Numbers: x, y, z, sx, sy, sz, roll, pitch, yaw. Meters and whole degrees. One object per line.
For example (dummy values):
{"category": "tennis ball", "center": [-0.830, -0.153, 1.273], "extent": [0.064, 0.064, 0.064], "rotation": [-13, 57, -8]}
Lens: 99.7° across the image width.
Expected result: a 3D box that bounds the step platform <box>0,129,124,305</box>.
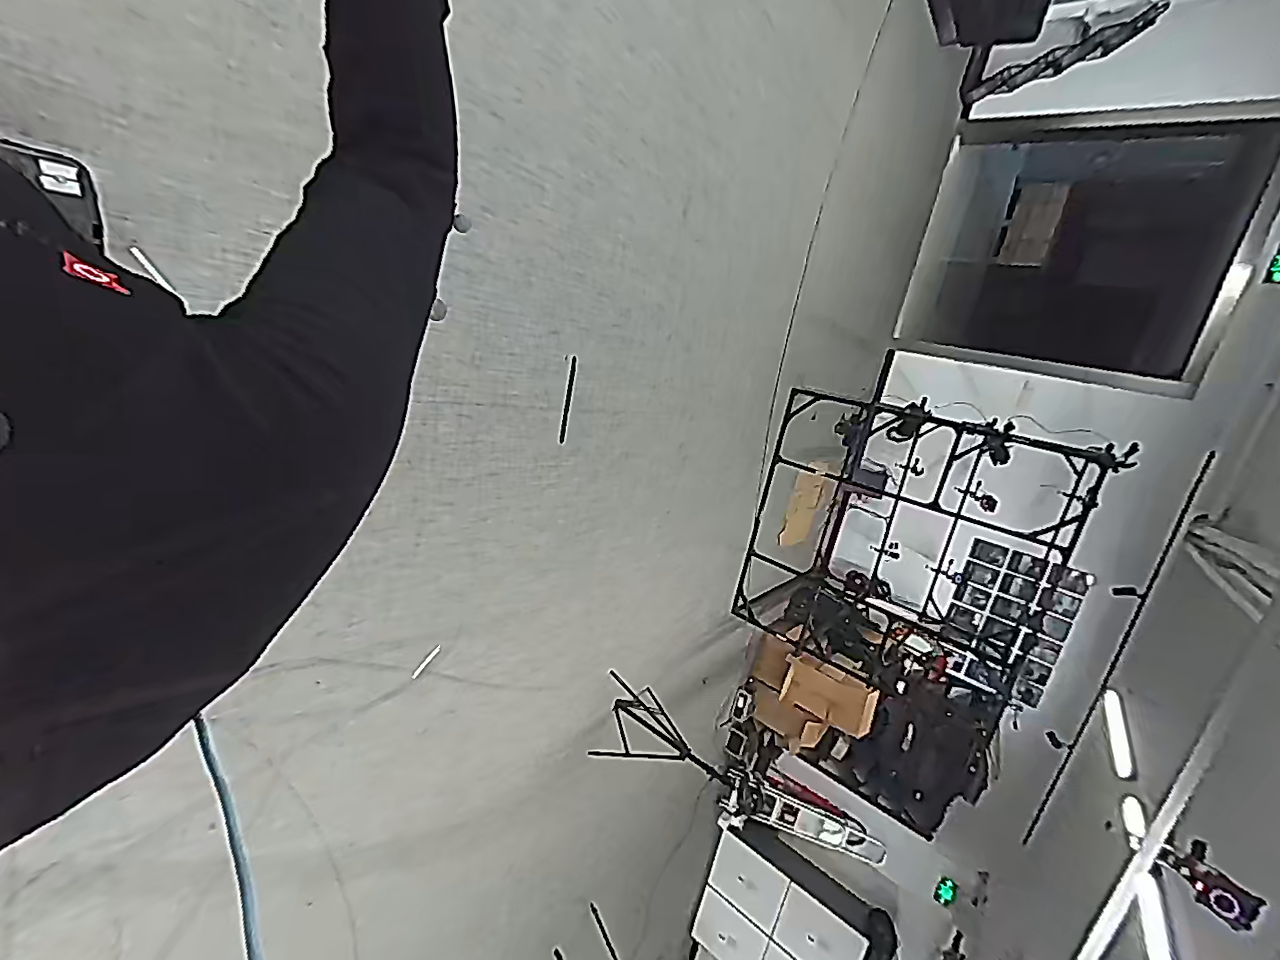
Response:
{"category": "step platform", "center": [-1.278, -0.467, 0.845], "extent": [0.684, 0.204, 0.286], "rotation": [-11, 117, -53]}
